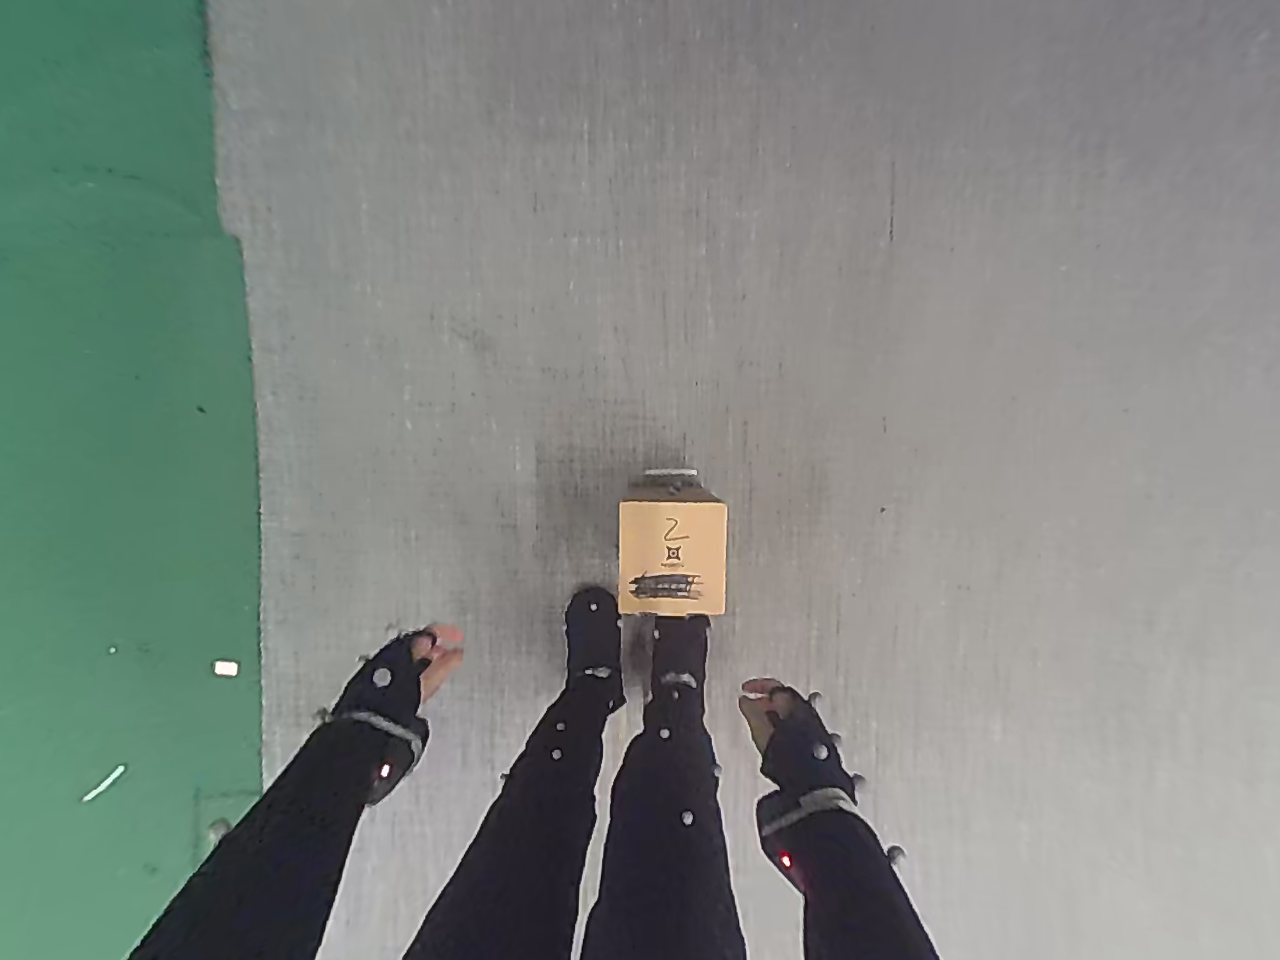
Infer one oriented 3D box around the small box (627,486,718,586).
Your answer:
[{"bbox_3d":[0.058,0.104,1.074,0.168,0.176,0.179,1,94,0],"label":"small box"}]
